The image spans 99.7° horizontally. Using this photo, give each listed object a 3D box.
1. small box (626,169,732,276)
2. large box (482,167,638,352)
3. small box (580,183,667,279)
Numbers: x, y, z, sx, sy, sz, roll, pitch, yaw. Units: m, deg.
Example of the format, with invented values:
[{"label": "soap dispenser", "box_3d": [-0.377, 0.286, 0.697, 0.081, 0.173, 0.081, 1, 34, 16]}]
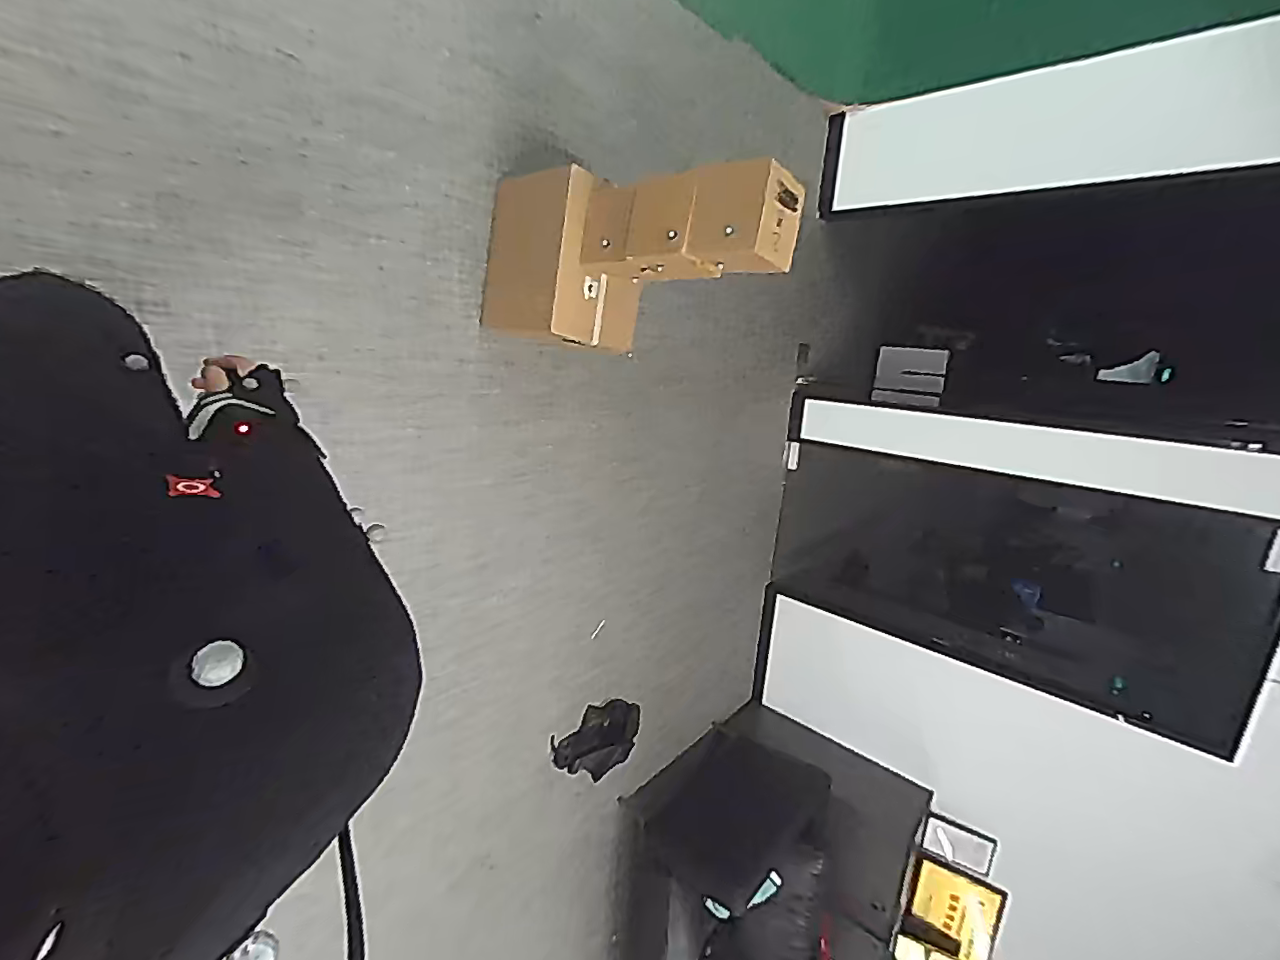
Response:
[{"label": "small box", "box_3d": [0.088, -0.584, 1.250, 0.168, 0.176, 0.179, 1, 102, -52]}, {"label": "large box", "box_3d": [-0.216, -0.598, 1.527, 0.320, 0.320, 0.408, -1, 105, -49]}, {"label": "small box", "box_3d": [-0.032, -0.613, 1.356, 0.168, 0.176, 0.179, -2, 103, -52]}]
